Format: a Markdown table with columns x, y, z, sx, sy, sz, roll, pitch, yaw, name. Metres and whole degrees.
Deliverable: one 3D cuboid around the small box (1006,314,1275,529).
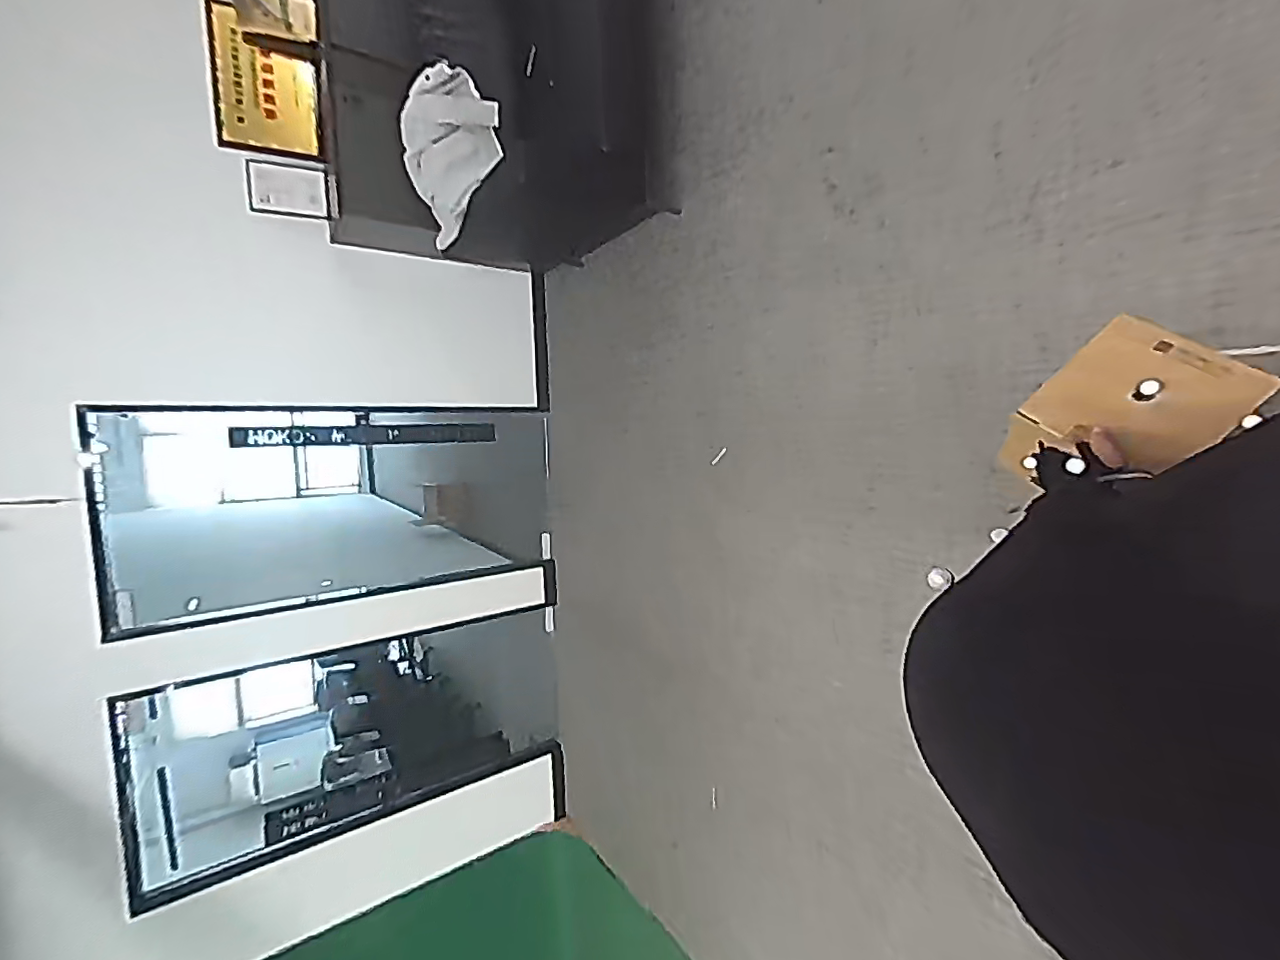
| x | y | z | sx | sy | sz | roll | pitch | yaw | name |
| --- | --- | --- | --- | --- | --- | --- | --- | --- | --- |
| 0.605 | -0.072 | 0.675 | 0.176 | 0.179 | 0.168 | -45 | 56 | 4 | small box |
